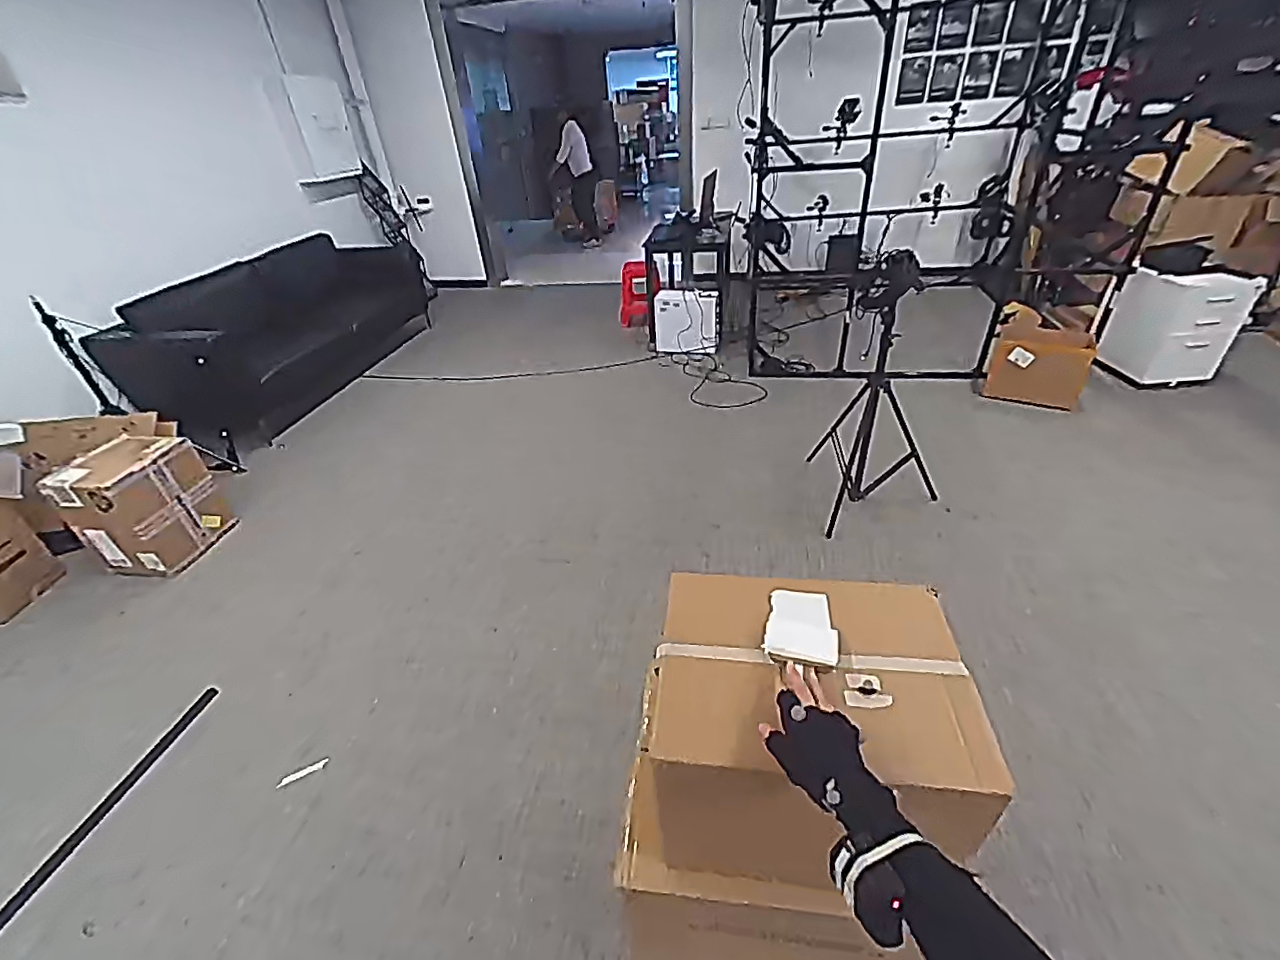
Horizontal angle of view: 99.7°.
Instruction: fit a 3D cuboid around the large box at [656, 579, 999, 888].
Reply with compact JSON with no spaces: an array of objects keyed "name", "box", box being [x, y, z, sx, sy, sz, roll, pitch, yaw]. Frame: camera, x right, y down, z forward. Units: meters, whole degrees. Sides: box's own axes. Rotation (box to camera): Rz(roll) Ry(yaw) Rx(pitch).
[{"name":"large box","box":[0.239,0.378,0.841,0.408,0.320,0.320,2,35,8]}]
